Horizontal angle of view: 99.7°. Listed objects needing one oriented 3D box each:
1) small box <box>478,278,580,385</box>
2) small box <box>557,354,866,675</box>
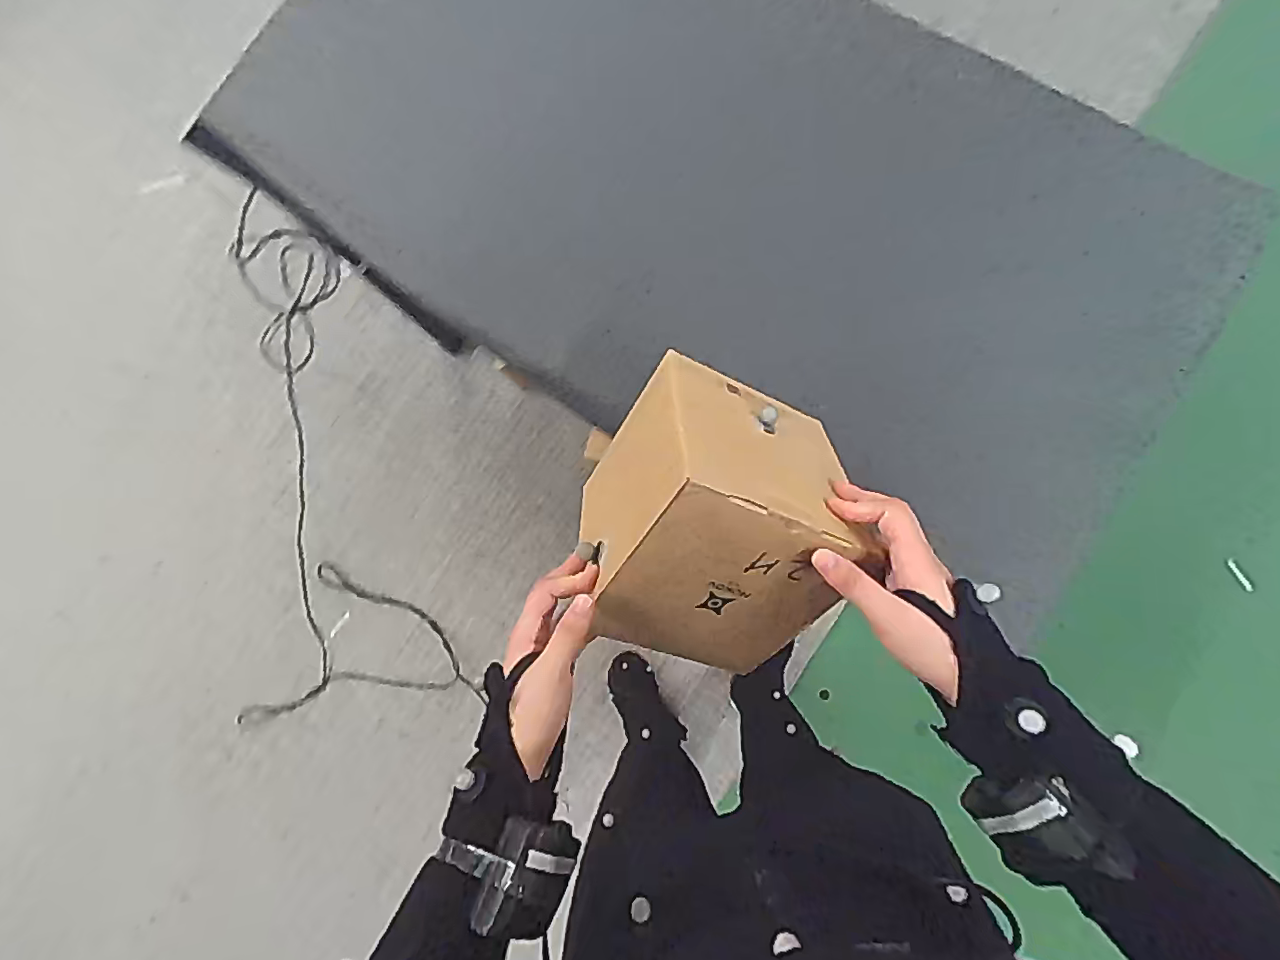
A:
[{"bbox_3d":[-0.268,-0.356,1.335,0.179,0.176,0.168,-23,81,0],"label":"small box"},{"bbox_3d":[0.045,0.030,0.453,0.168,0.176,0.179,20,127,-19],"label":"small box"}]
